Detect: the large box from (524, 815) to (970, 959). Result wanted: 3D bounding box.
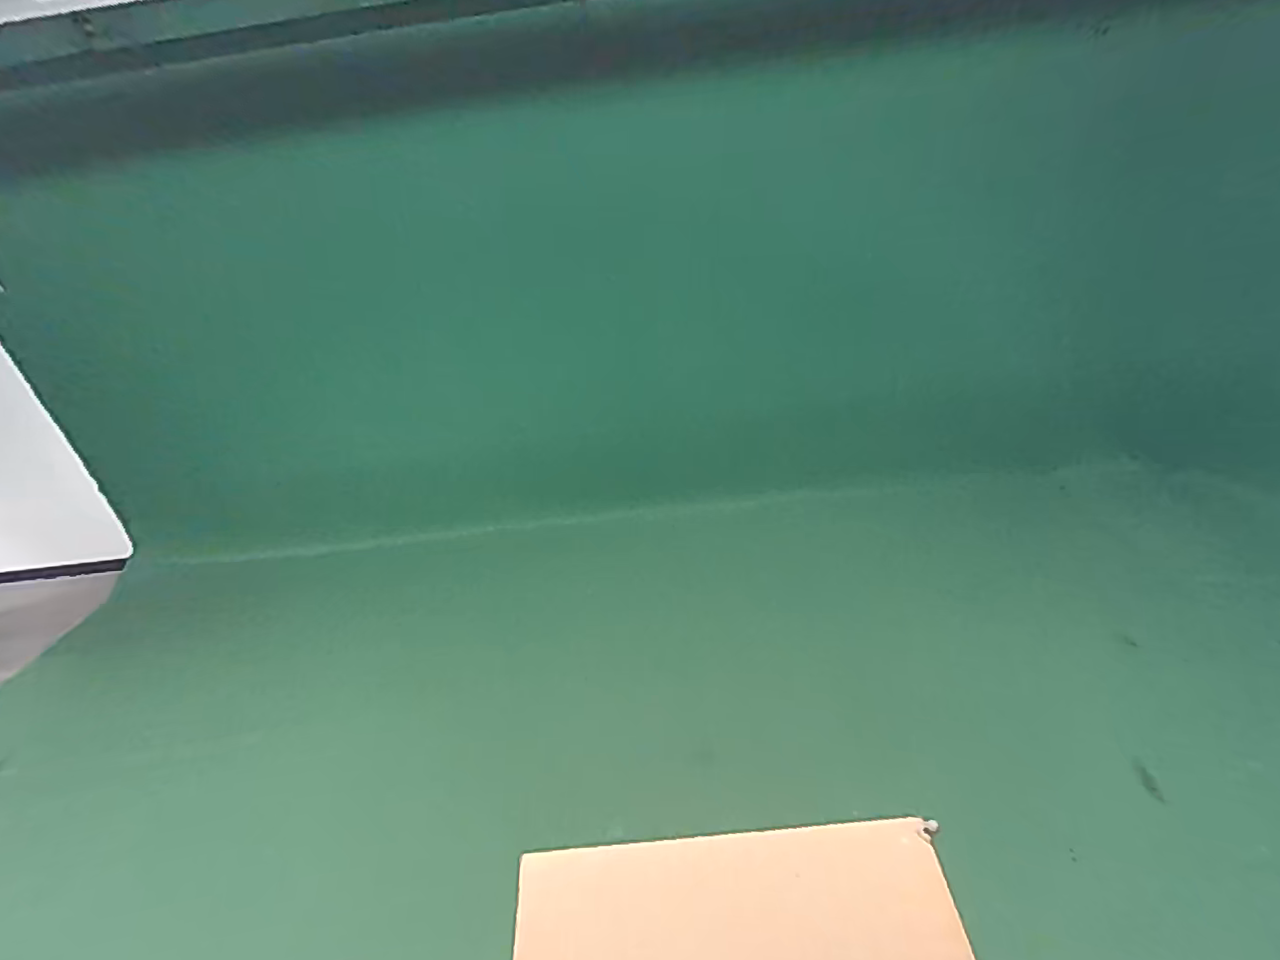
[{"bbox_3d":[0.105,0.578,0.550,0.408,0.320,0.320,-5,46,-1],"label":"large box"}]
